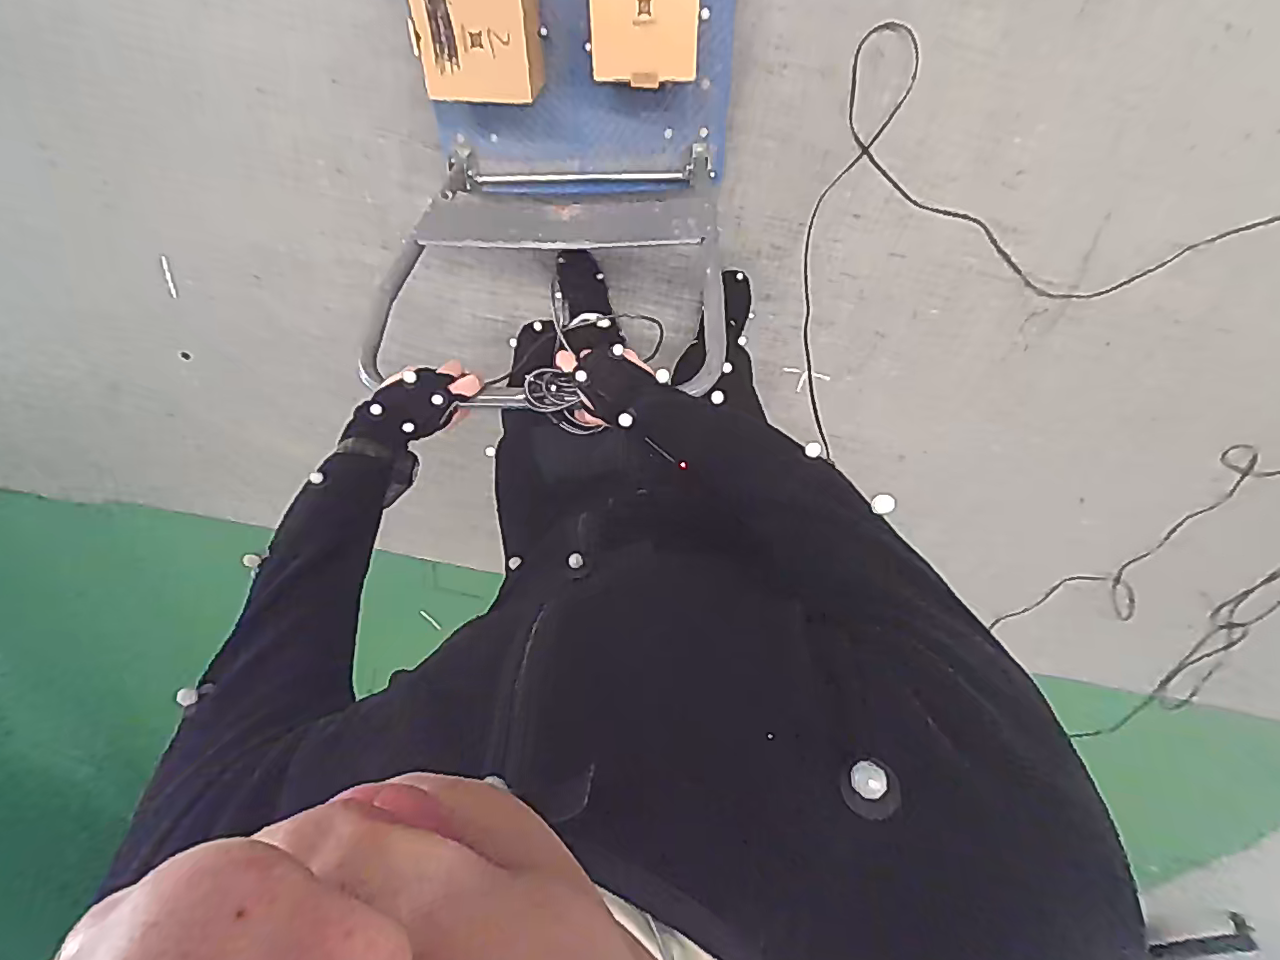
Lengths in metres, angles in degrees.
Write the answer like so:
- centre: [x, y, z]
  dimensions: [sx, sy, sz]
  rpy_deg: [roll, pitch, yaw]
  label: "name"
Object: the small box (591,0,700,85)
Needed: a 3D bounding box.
- centre: [0.010, -0.757, 0.864]
  dimensions: [0.168, 0.176, 0.179]
  rpy_deg: [2, 138, 2]
  label: "small box"
